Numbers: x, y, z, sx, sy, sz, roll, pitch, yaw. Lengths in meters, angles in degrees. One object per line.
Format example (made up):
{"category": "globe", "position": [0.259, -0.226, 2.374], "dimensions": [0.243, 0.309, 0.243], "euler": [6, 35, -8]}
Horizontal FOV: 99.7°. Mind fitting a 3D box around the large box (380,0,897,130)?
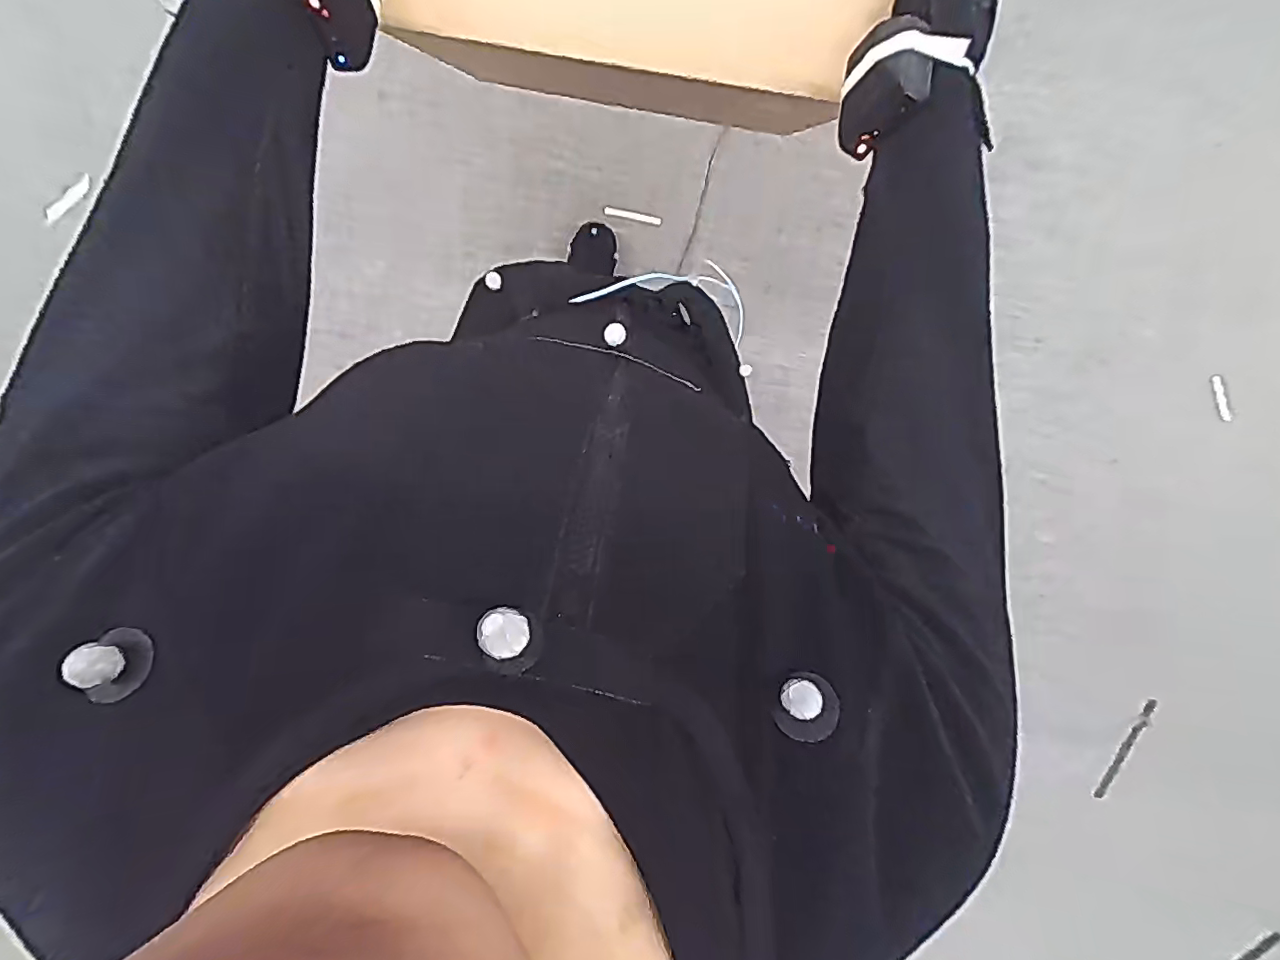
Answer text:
{"category": "large box", "position": [0.012, -0.536, 0.490], "dimensions": [0.408, 0.320, 0.320], "euler": [8, 120, -3]}
